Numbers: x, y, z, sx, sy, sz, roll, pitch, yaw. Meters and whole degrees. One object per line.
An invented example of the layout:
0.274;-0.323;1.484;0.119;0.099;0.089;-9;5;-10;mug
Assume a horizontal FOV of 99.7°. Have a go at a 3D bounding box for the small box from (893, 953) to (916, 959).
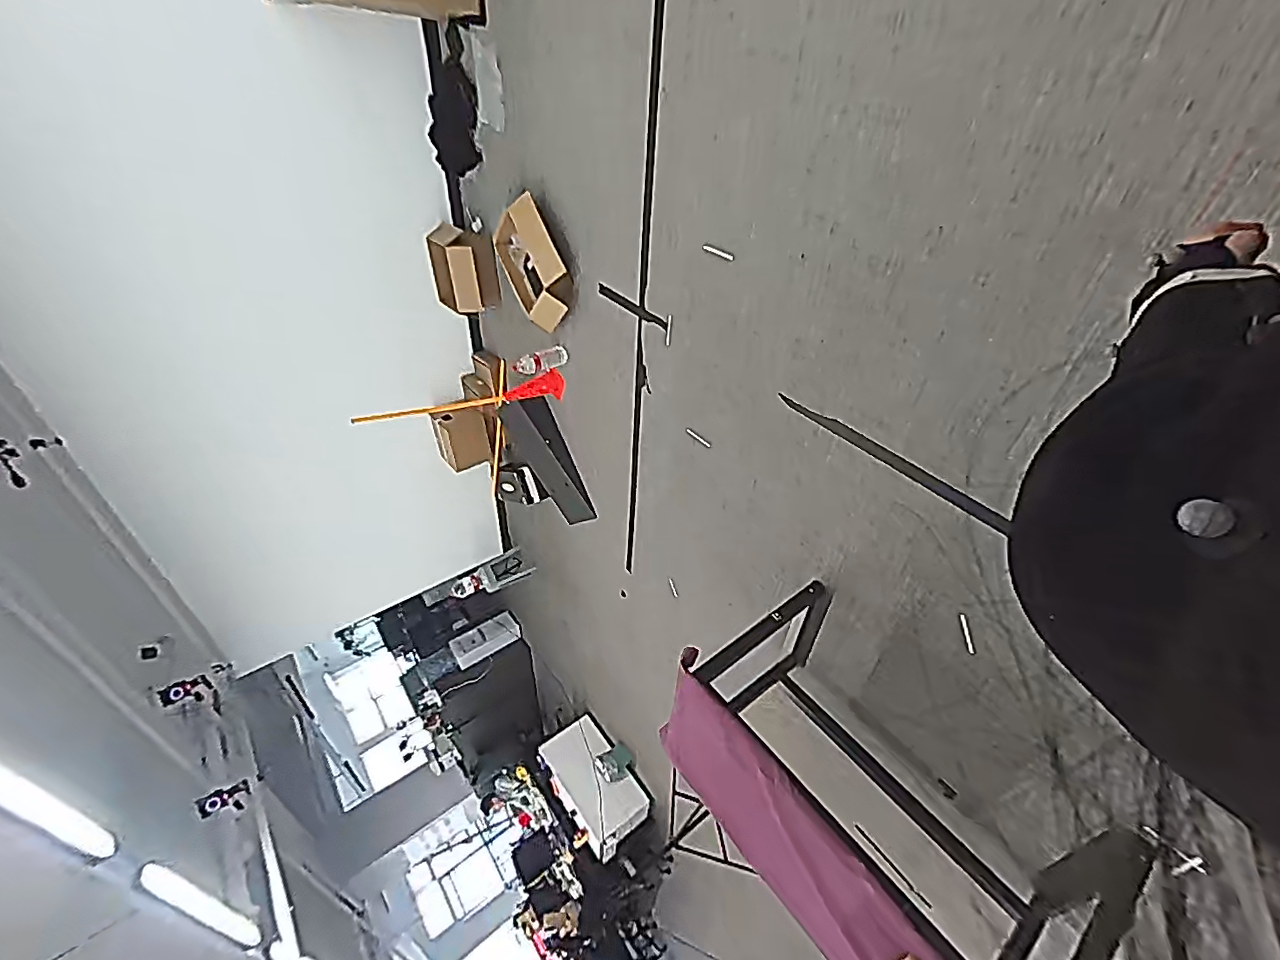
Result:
0.649;1.308;1.309;0.168;0.176;0.179;38;141;37;small box
